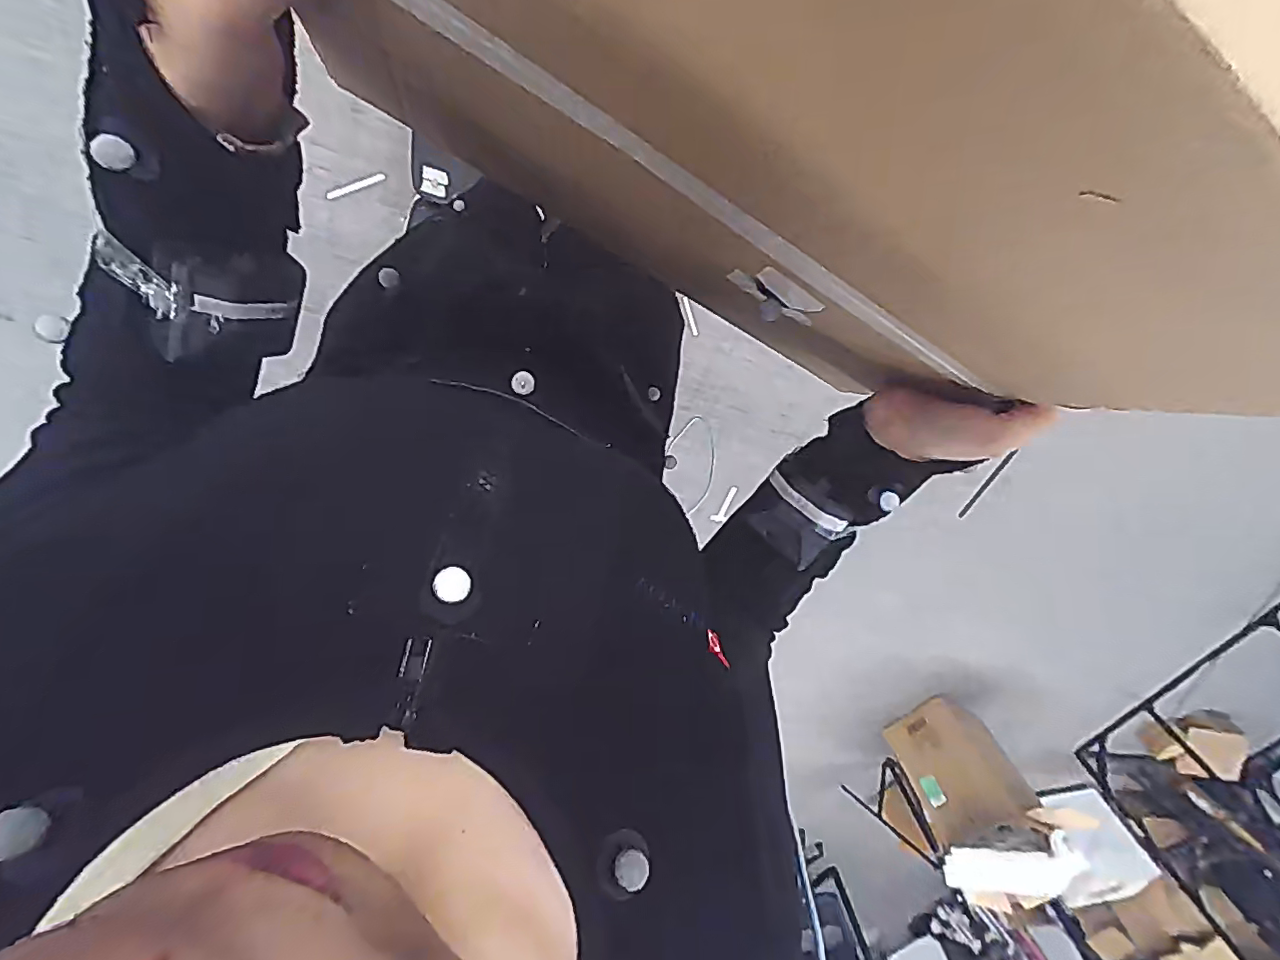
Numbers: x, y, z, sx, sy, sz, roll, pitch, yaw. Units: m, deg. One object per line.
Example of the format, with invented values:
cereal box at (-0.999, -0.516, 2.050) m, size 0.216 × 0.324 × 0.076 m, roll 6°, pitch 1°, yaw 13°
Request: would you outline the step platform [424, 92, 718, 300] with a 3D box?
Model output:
step platform at (-0.099, -0.662, 1.176) m, size 0.684 × 0.204 × 0.286 m, roll 17°, pitch 121°, yaw -23°
